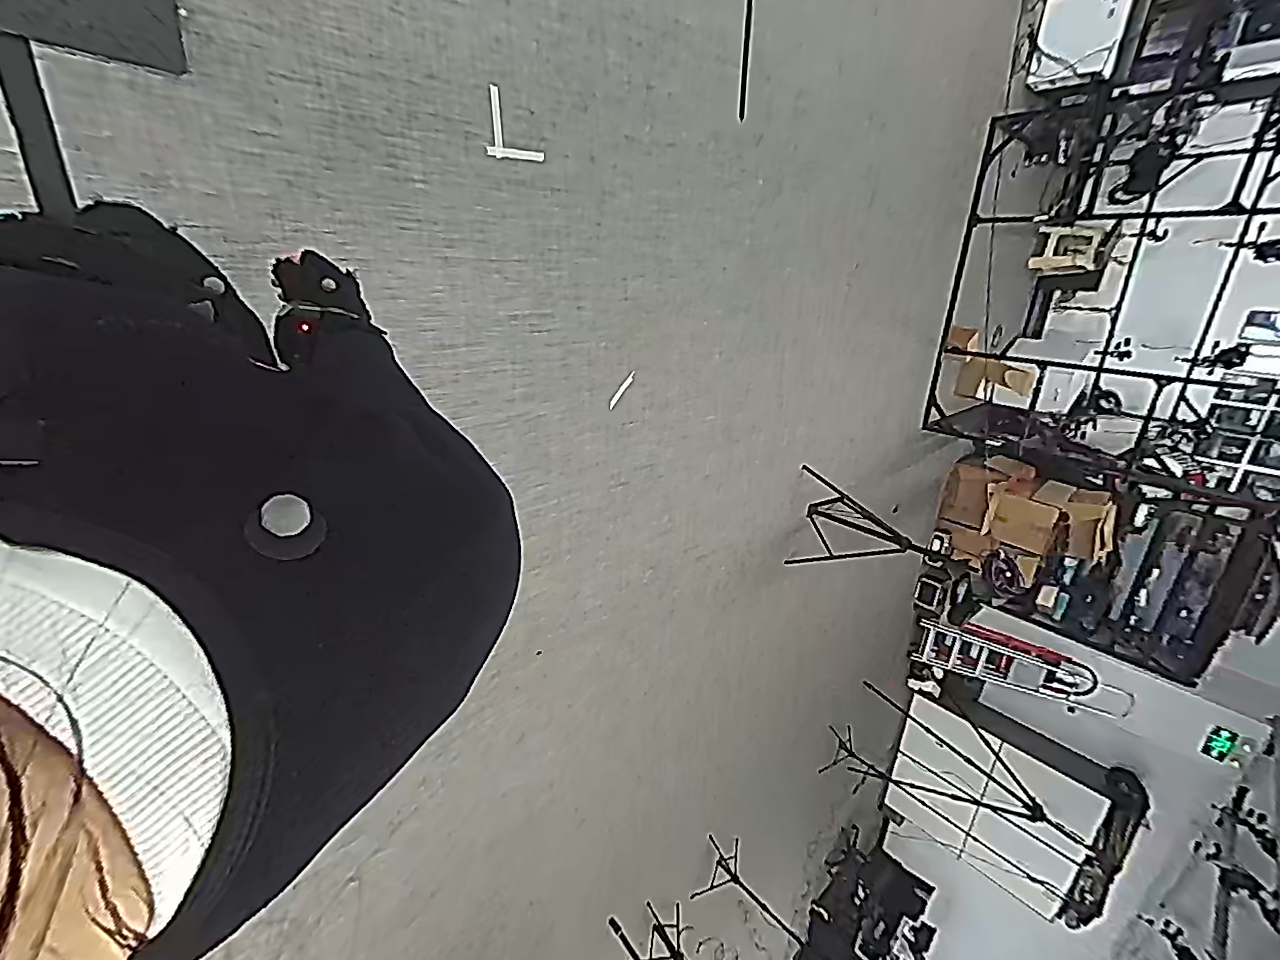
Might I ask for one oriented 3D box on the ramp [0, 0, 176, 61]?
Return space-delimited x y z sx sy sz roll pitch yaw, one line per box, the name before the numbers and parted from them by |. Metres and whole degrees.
ramp | -0.928 -1.146 0.604 0.509 0.206 0.991 -17 119 -41
